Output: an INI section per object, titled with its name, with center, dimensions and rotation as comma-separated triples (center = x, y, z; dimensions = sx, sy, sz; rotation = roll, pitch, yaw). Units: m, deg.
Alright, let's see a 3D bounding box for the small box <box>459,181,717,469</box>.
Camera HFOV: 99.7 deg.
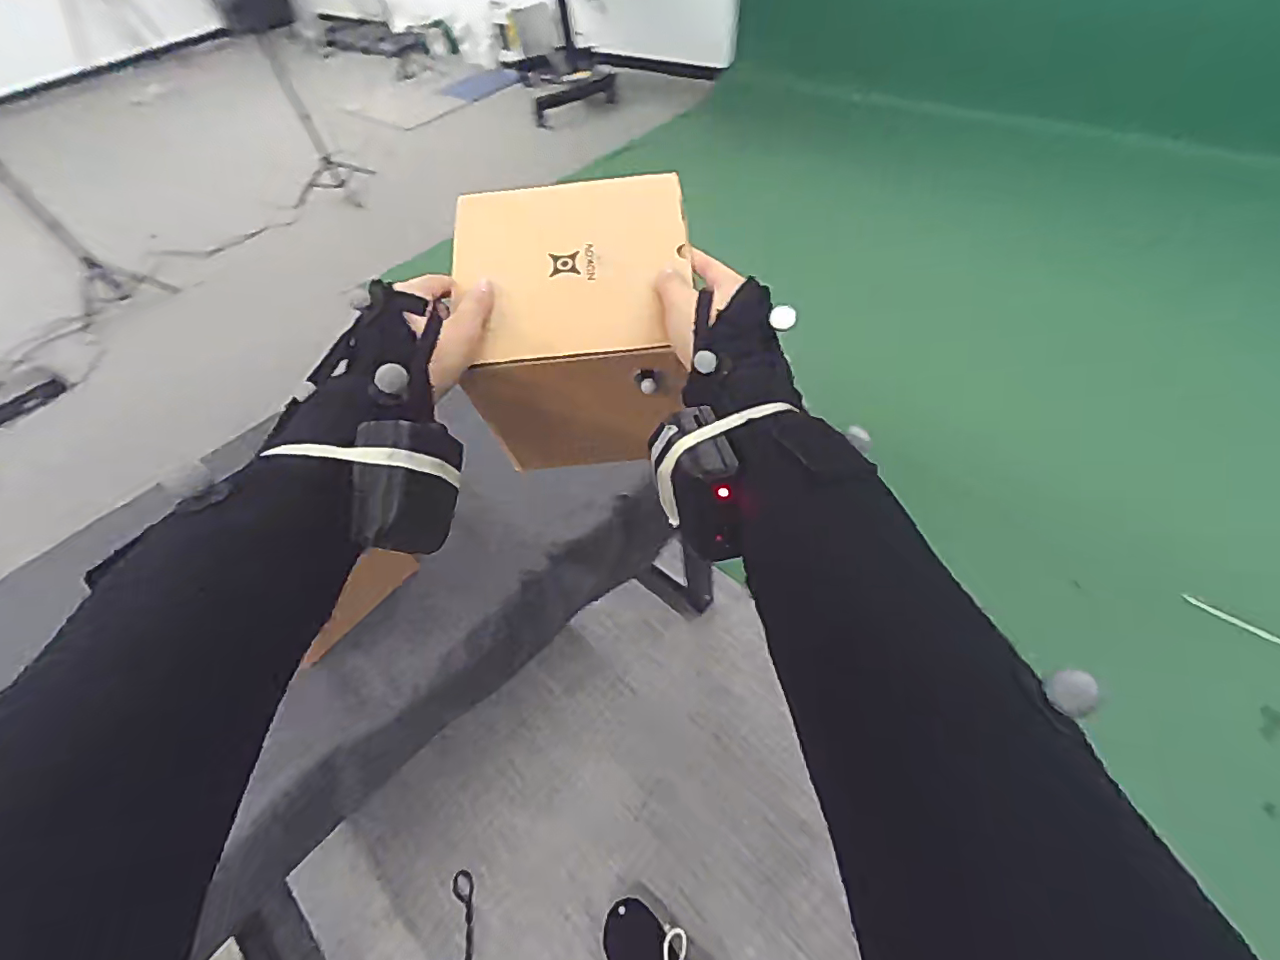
[small box]
center = -0.035, -0.119, 0.462
dimensions = 0.179, 0.176, 0.168
rotation = -5, 65, 1
